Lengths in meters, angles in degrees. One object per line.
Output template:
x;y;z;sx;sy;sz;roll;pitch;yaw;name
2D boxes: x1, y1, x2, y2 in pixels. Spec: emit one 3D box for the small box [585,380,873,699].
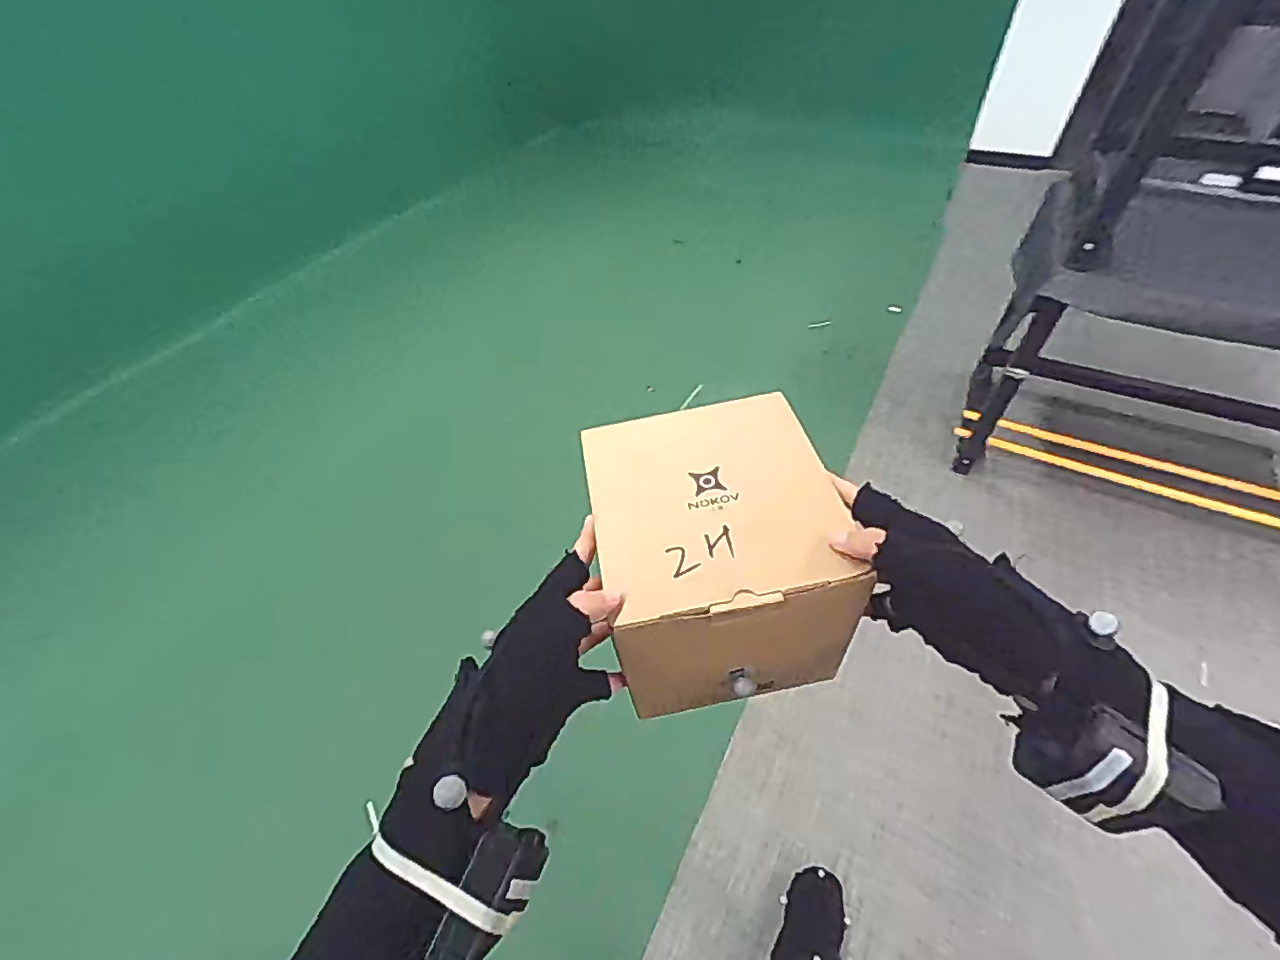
0.056;0.050;0.436;0.168;0.176;0.179;-12;50;-1;small box
